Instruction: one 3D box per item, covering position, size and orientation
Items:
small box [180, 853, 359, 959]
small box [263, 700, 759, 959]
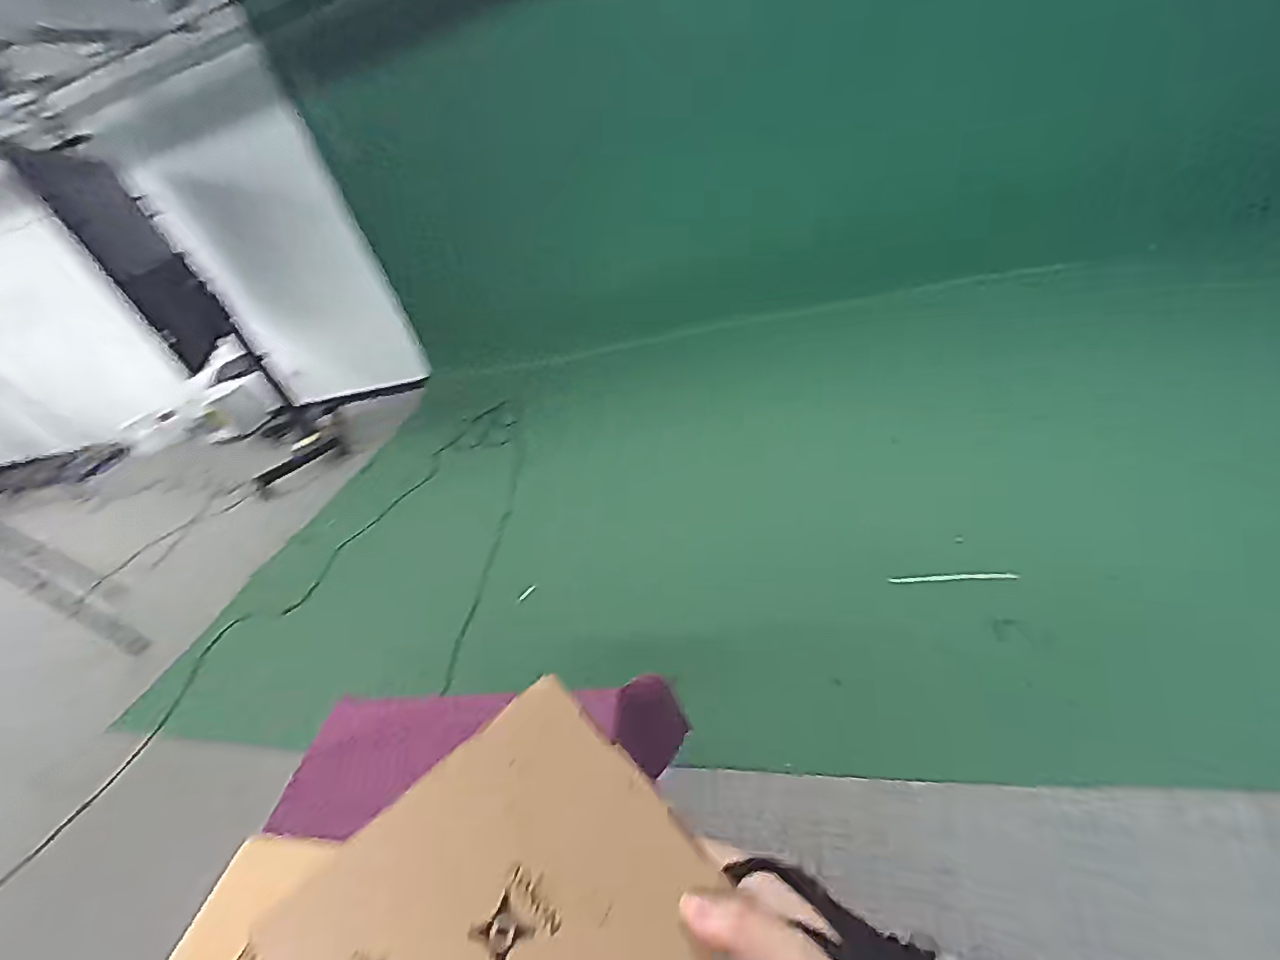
[{"bbox_3d":[-0.302,0.474,0.496,0.179,0.176,0.168,-7,36,16],"label":"small box"},{"bbox_3d":[-0.068,0.273,0.313,0.168,0.176,0.179,40,52,22],"label":"small box"}]
